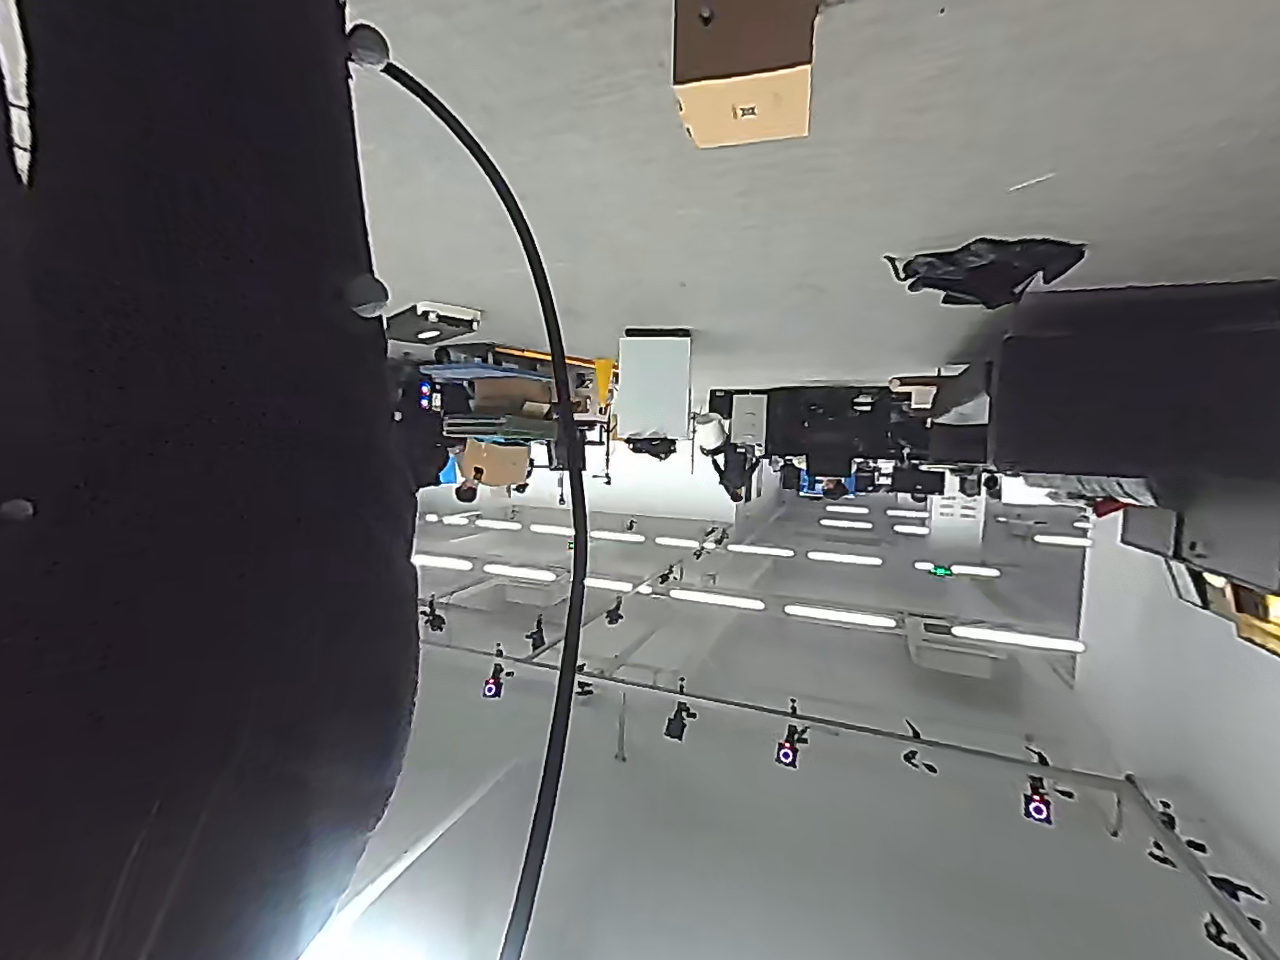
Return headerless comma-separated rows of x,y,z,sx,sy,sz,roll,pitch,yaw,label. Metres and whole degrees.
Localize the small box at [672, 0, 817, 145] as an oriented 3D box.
0.147,-0.597,0.740,0.179,0.176,0.168,2,-174,16,small box
